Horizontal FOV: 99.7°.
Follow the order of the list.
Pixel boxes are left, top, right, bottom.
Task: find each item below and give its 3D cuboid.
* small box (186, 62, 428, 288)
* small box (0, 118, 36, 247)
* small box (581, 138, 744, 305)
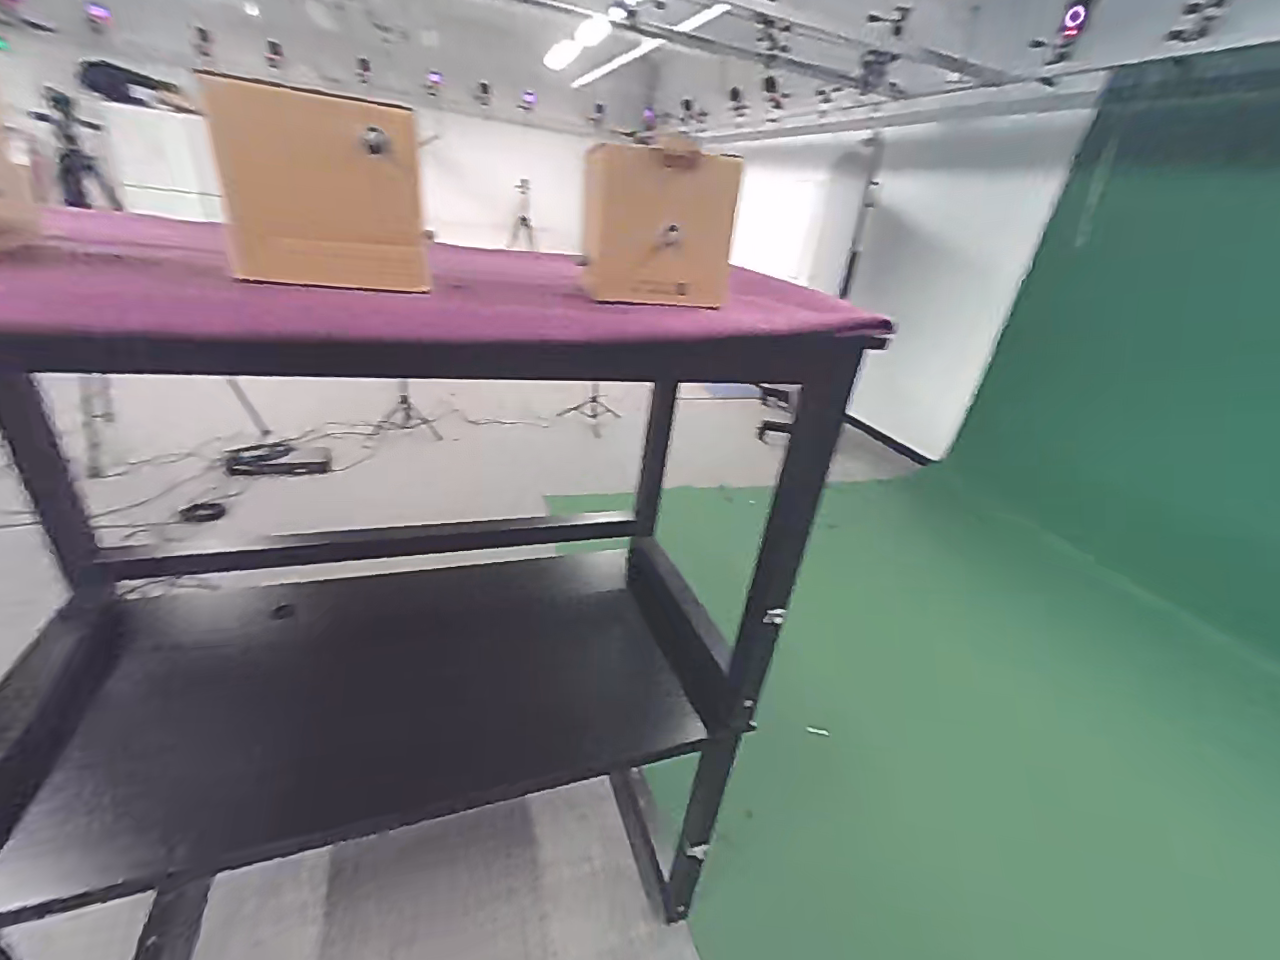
[{"bbox_3d":[-0.321,-0.300,0.565,0.179,0.176,0.168,-3,27,-21],"label":"small box"},{"bbox_3d":[-0.653,-0.275,0.419,0.179,0.176,0.168,-3,30,-21],"label":"small box"},{"bbox_3d":[0.016,-0.324,0.693,0.168,0.176,0.179,-1,26,-14],"label":"small box"}]
